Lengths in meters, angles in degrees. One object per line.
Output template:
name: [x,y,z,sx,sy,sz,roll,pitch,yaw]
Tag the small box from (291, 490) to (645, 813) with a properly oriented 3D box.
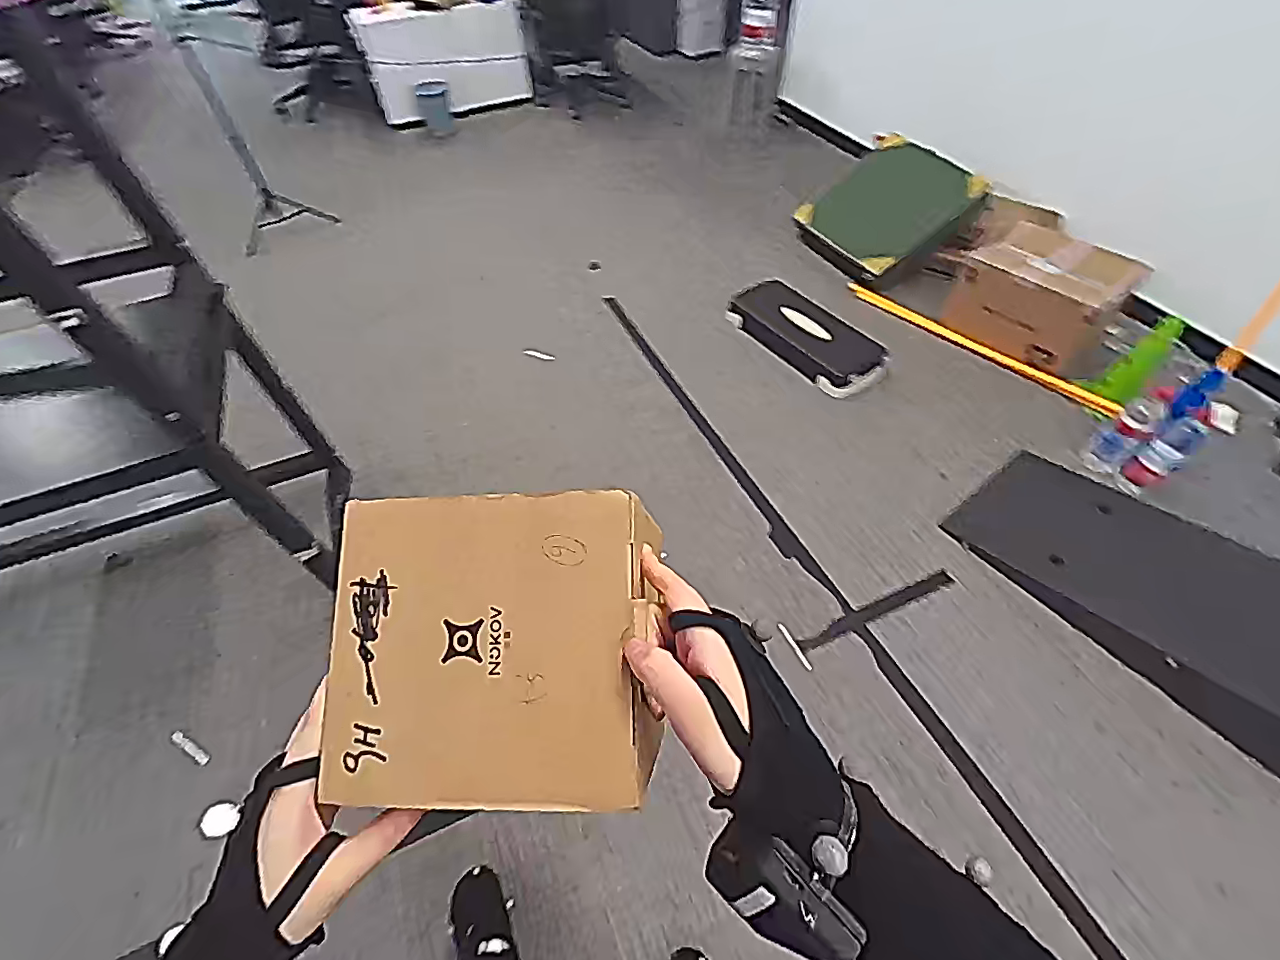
small box: [-0.087,0.102,0.365,0.179,0.176,0.168,-2,77,5]
